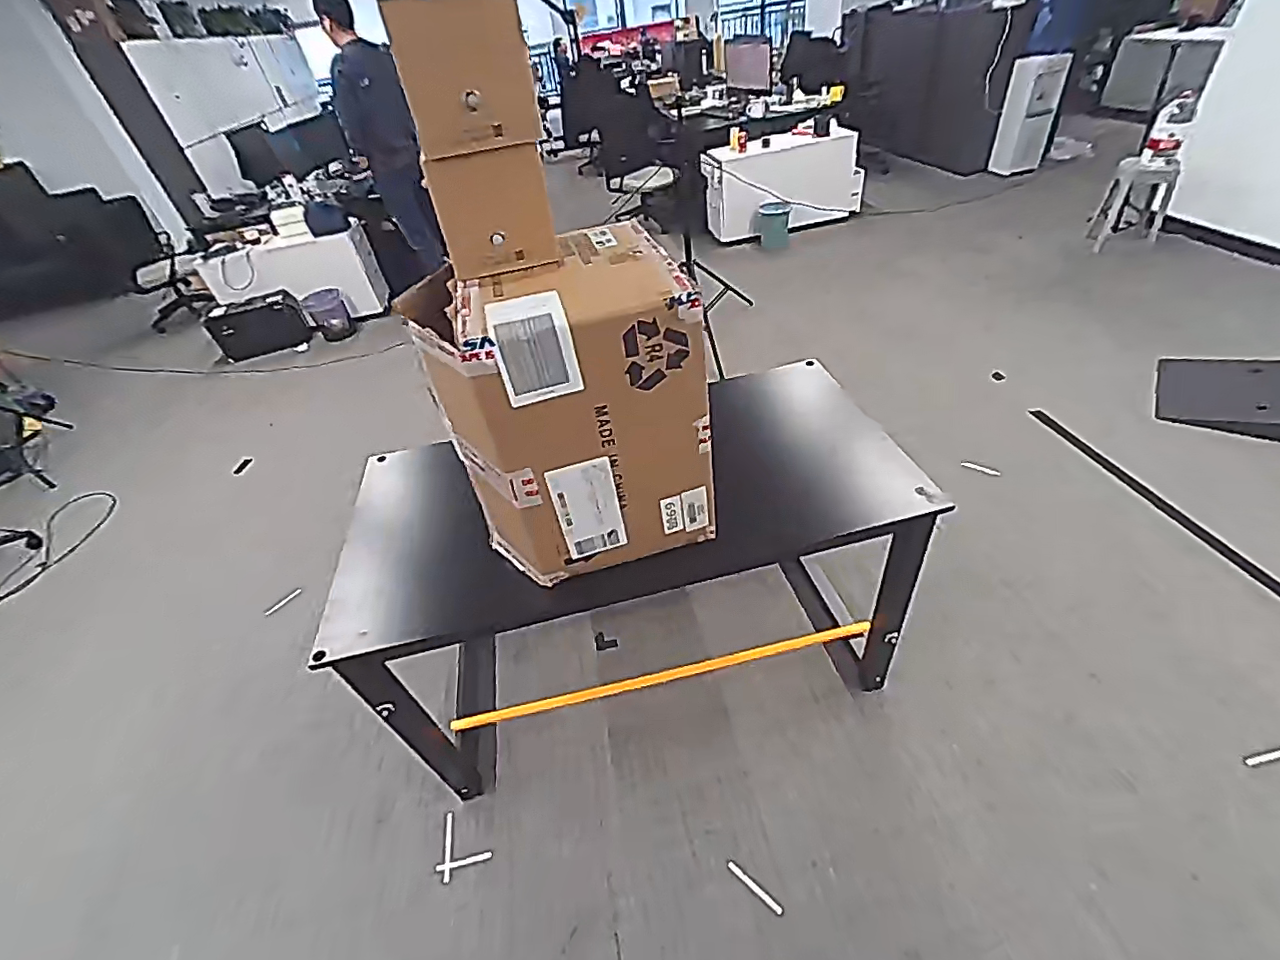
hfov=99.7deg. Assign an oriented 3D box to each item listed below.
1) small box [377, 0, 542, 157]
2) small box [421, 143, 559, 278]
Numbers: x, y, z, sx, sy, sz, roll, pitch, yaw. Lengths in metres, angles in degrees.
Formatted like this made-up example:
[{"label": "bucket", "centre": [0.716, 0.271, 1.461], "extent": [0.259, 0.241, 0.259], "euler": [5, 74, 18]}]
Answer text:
[{"label": "small box", "centre": [-0.246, -0.564, 0.758], "extent": [0.168, 0.176, 0.179], "euler": [-17, 39, -10]}, {"label": "small box", "centre": [-0.236, -0.440, 0.867], "extent": [0.168, 0.176, 0.179], "euler": [-15, 40, -9]}]
